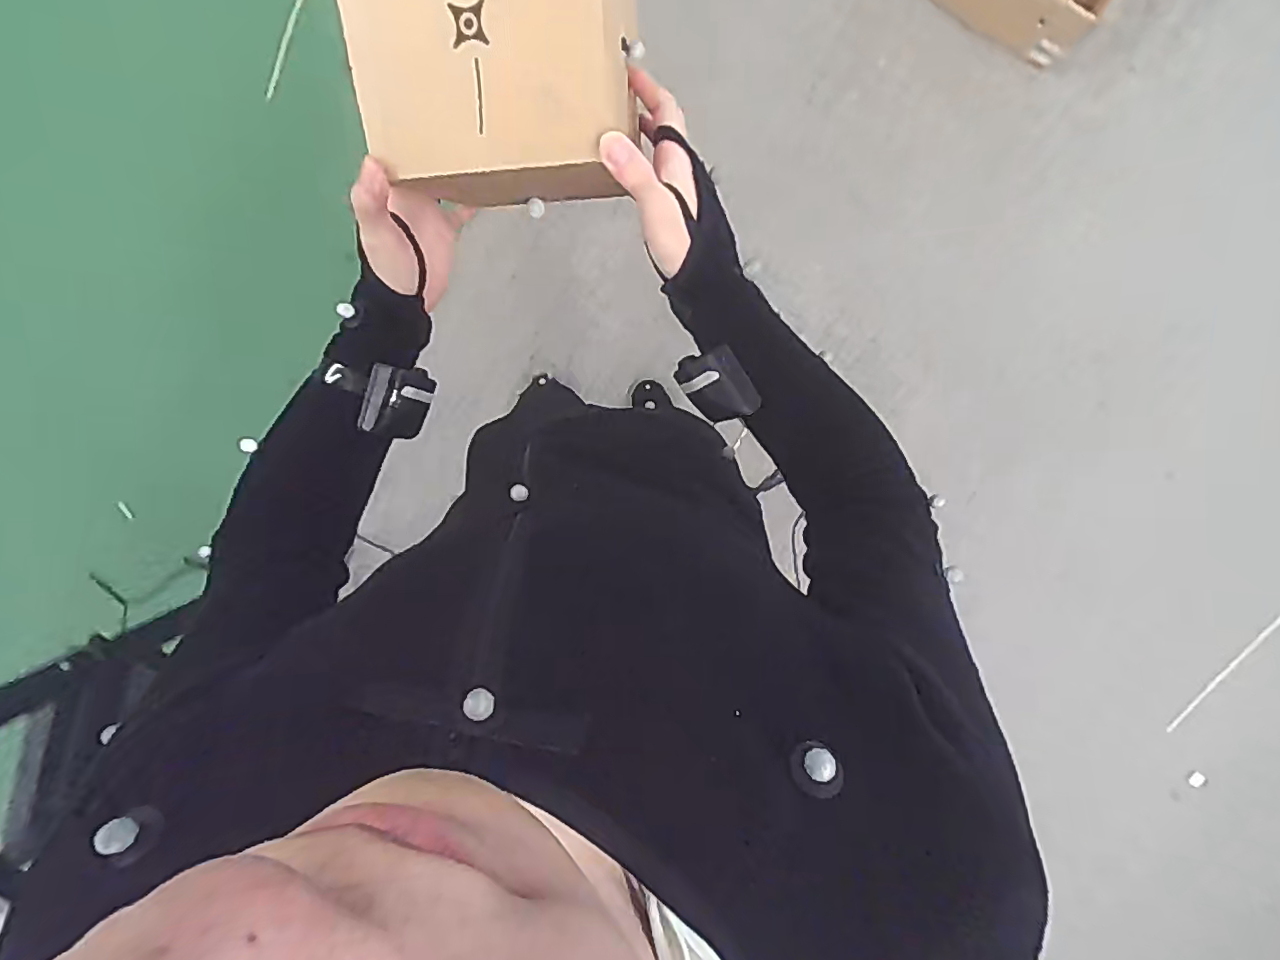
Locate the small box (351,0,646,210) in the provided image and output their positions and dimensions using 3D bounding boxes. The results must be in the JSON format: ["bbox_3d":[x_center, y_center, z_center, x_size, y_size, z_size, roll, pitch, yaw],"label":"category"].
[{"bbox_3d":[-0.087,-0.309,0.401,0.168,0.176,0.179,1,111,7],"label":"small box"}]
